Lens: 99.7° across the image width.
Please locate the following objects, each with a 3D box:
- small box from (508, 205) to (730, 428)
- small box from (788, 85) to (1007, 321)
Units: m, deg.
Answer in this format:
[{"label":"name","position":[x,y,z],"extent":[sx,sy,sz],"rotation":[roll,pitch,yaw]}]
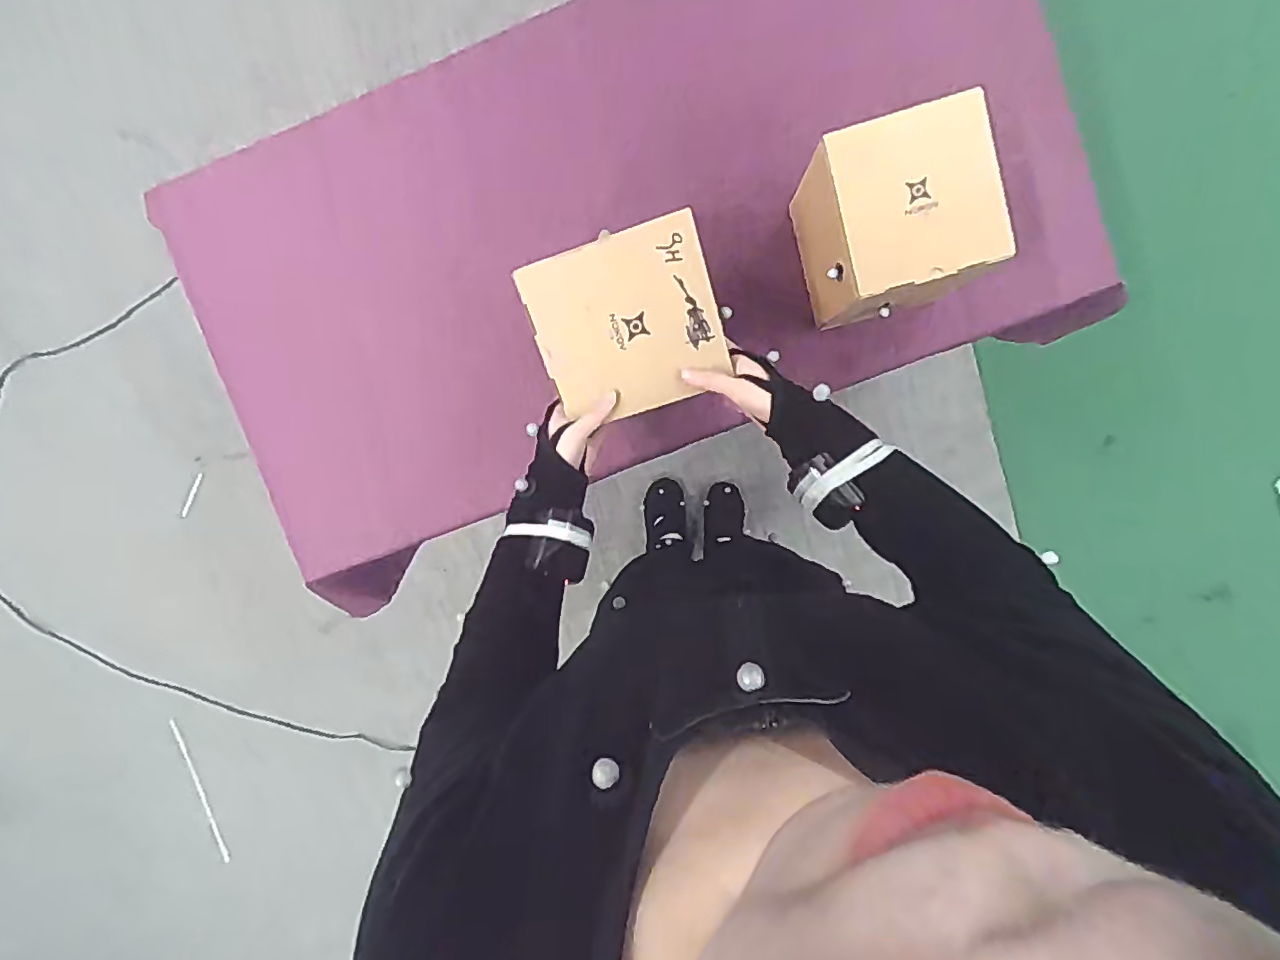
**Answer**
[{"label":"small box","position":[-0.014,-0.175,0.582],"extent":[0.179,0.176,0.168],"rotation":[-16,111,8]},{"label":"small box","position":[0.288,-0.310,0.644],"extent":[0.168,0.176,0.179],"rotation":[-15,94,5]}]
